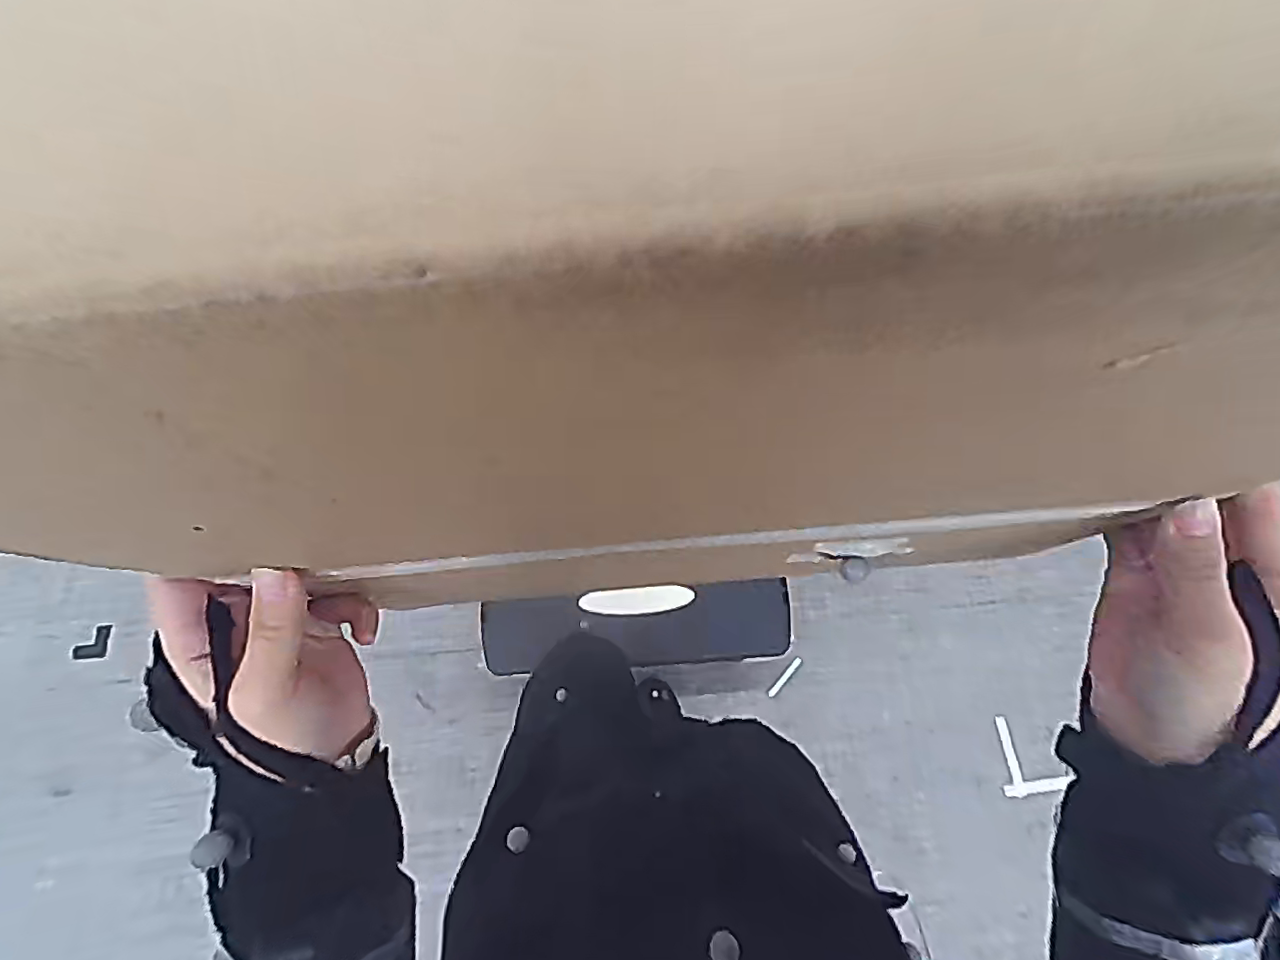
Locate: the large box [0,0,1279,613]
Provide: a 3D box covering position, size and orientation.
[{"bbox_3d":[0.012,-0.123,0.268,0.408,0.320,0.320,-6,72,1],"label":"large box"}]
